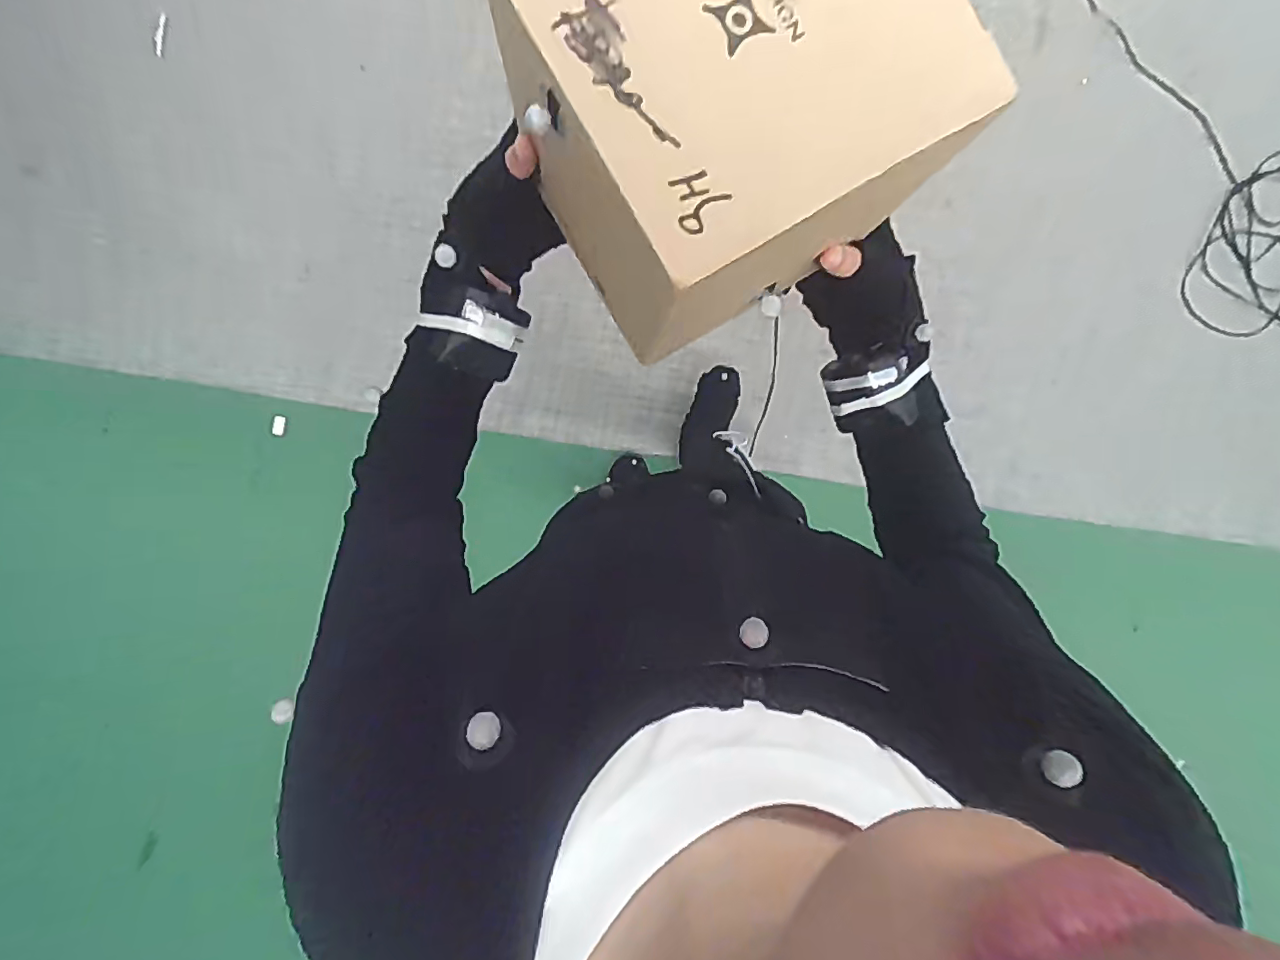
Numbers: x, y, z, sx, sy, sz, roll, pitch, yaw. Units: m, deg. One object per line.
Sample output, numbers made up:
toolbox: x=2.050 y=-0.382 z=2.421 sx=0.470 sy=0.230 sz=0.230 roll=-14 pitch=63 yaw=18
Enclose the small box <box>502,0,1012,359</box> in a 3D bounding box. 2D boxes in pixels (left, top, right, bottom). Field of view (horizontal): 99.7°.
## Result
small box: x=0.040 y=-0.191 z=0.300 sx=0.179 sy=0.176 sz=0.168 roll=-31 pitch=93 yaw=-4
